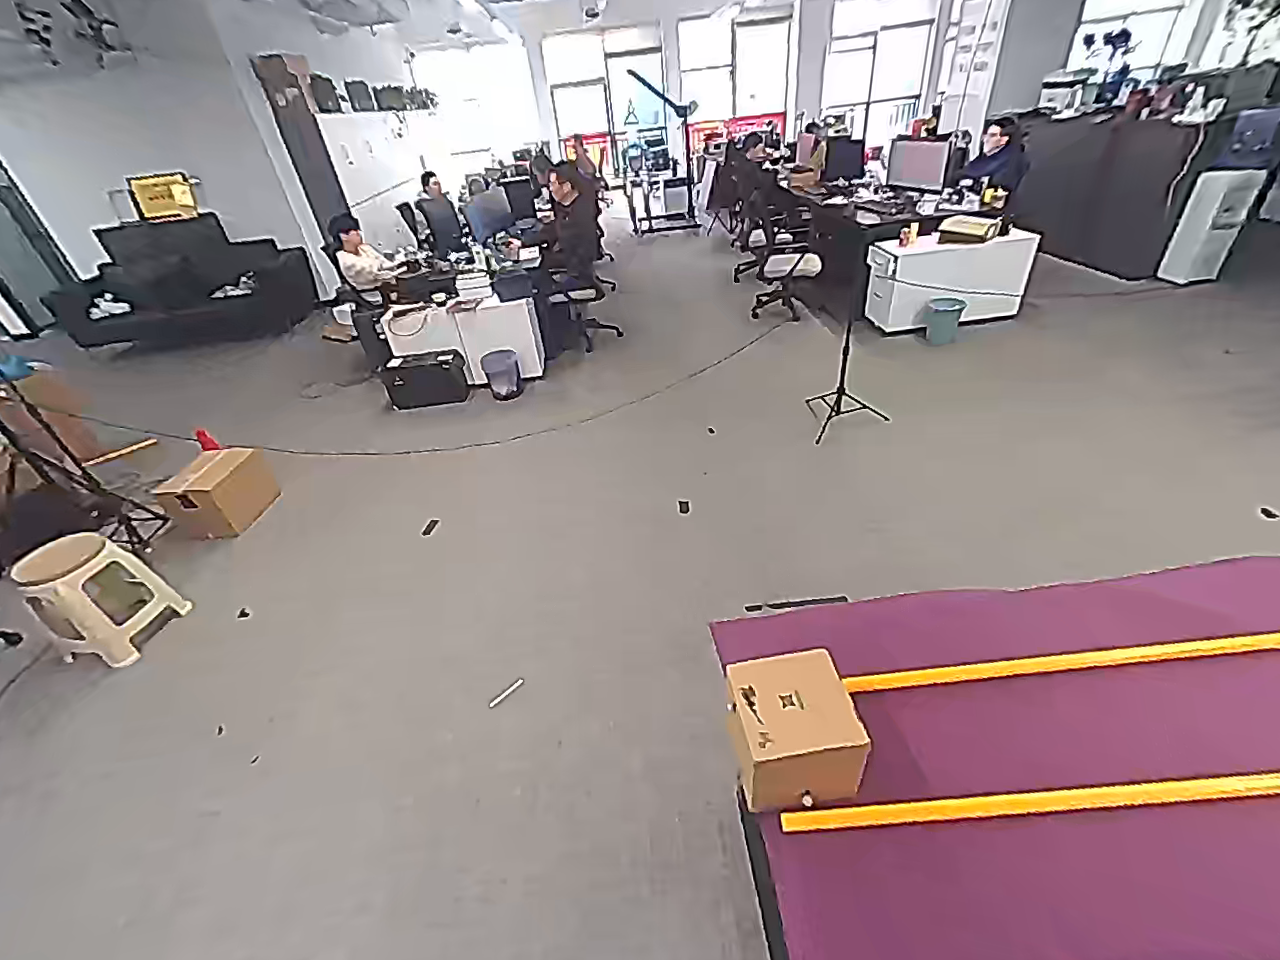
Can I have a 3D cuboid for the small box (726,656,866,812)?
[{"bbox_3d":[0.245,0.421,0.898,0.179,0.176,0.168,-8,36,-2],"label":"small box"}]
